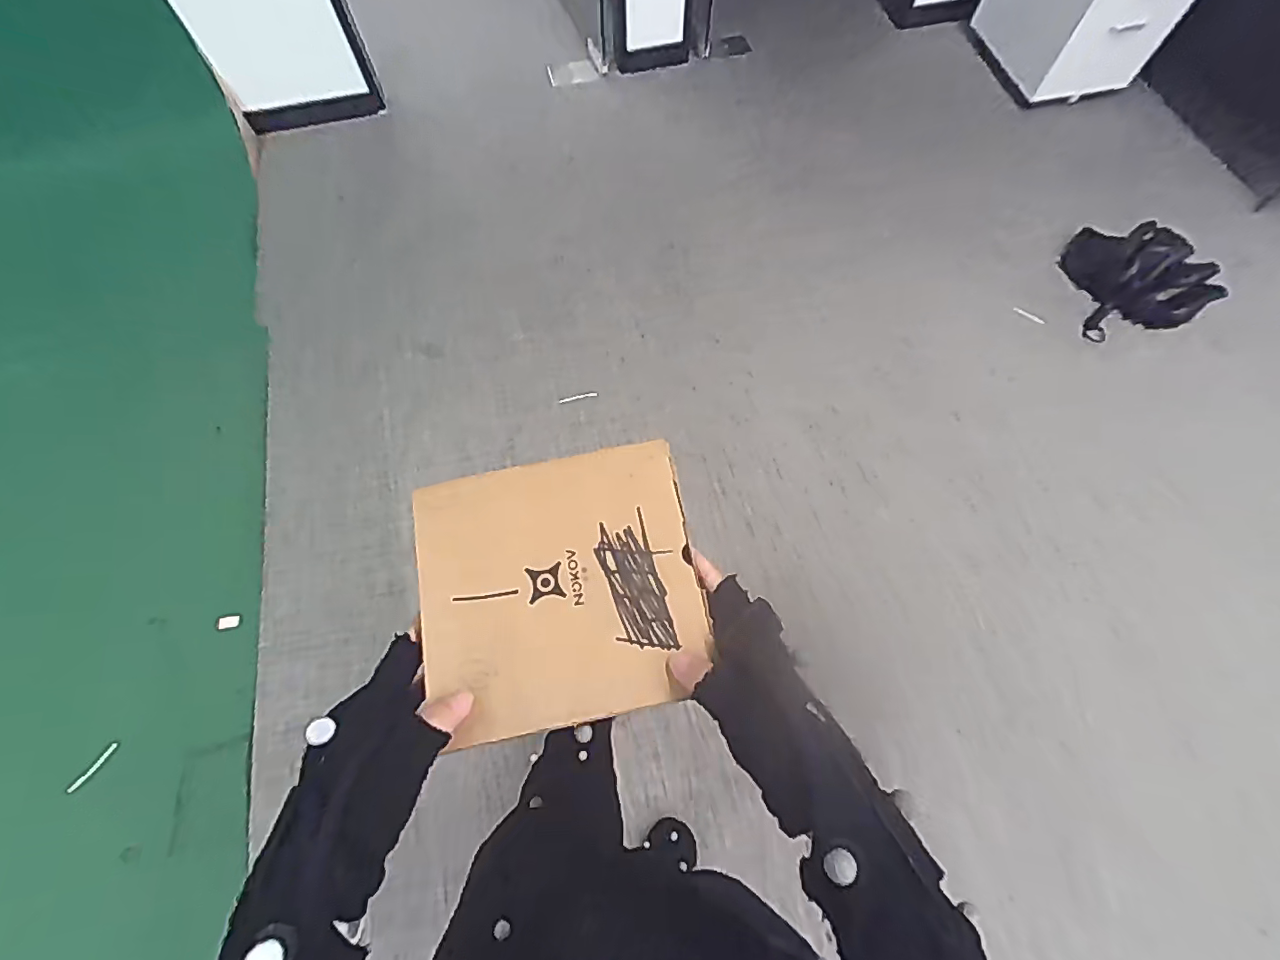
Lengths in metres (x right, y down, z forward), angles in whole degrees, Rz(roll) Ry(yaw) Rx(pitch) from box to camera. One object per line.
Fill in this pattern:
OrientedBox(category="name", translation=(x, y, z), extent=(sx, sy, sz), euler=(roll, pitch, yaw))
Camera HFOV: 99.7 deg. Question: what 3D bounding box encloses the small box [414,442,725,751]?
OrientedBox(category="small box", translation=(-0.052, 0.091, 0.422), extent=(0.179, 0.176, 0.168), euler=(-13, 71, -5))
